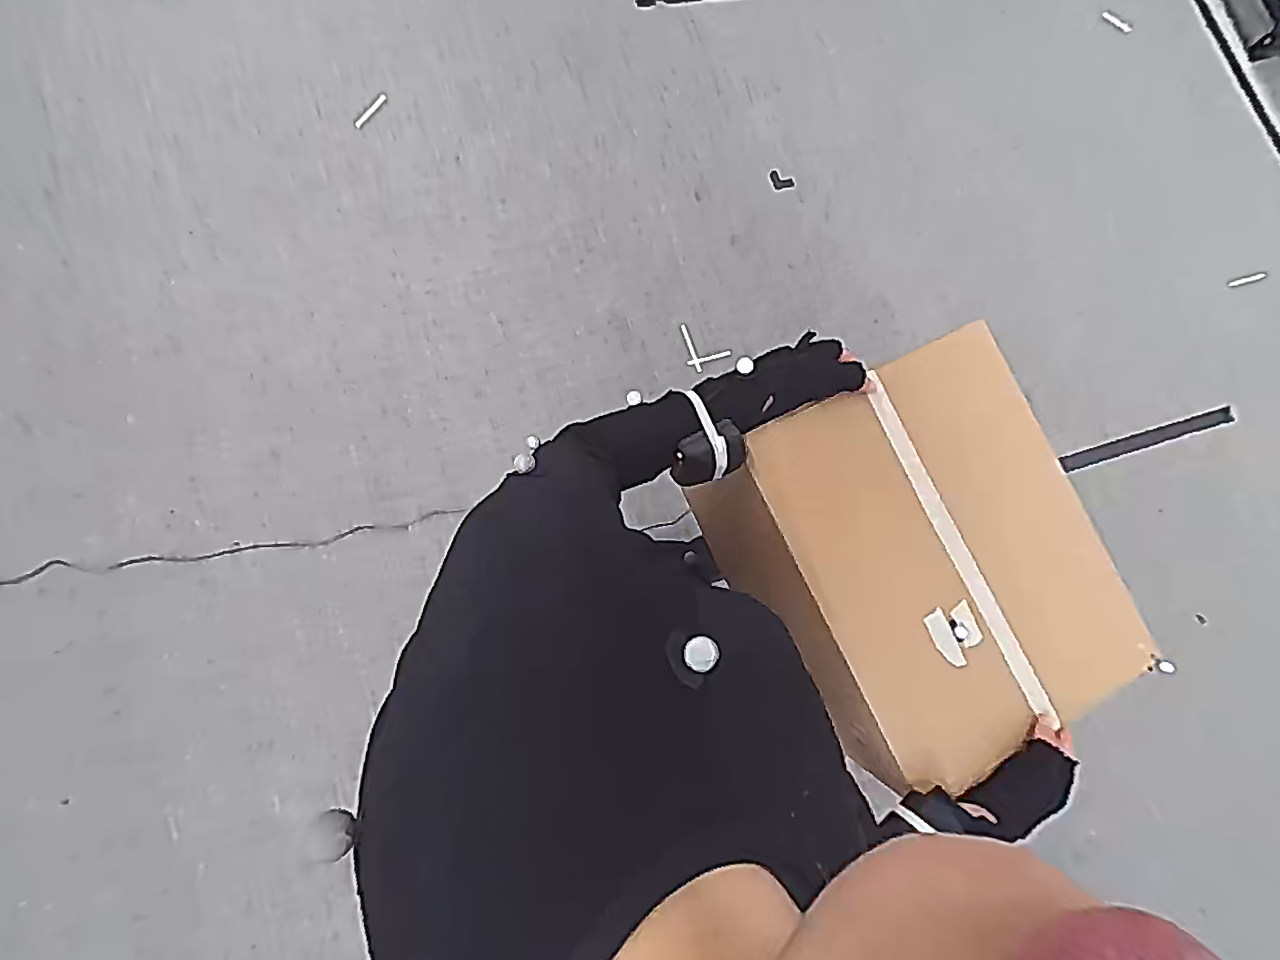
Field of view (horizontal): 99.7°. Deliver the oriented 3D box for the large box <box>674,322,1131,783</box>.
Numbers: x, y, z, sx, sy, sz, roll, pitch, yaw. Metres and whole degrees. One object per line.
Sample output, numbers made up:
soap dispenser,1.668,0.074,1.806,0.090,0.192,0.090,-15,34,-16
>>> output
large box,0.293,0.077,0.714,0.320,0.320,0.408,-26,89,-9
